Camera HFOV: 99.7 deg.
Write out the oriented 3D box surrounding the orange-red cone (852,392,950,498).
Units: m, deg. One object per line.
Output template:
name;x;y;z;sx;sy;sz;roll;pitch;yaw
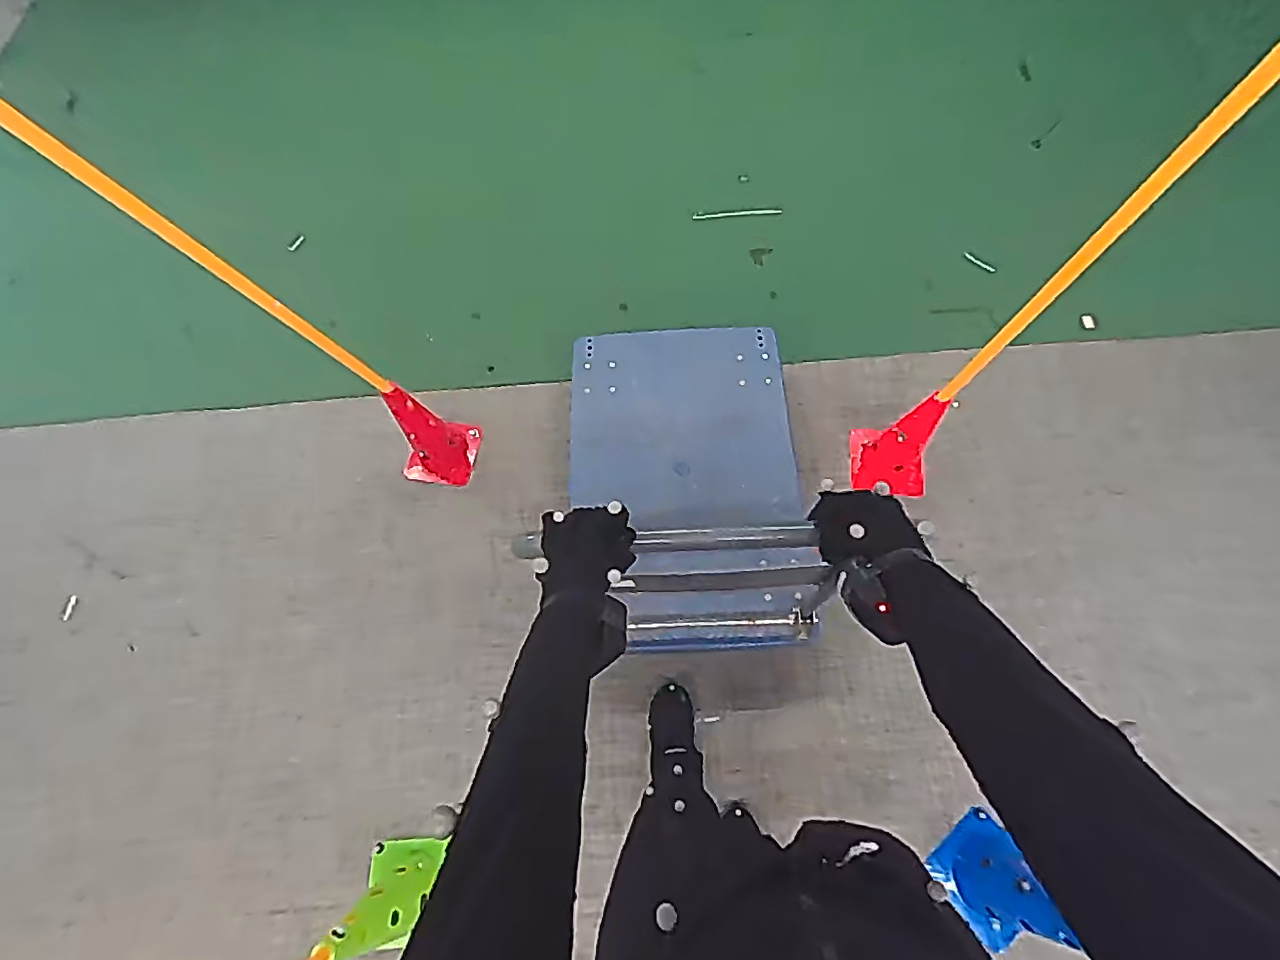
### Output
orange-red cone;0.693;-0.112;1.378;0.198;0.360;0.199;6;68;6
